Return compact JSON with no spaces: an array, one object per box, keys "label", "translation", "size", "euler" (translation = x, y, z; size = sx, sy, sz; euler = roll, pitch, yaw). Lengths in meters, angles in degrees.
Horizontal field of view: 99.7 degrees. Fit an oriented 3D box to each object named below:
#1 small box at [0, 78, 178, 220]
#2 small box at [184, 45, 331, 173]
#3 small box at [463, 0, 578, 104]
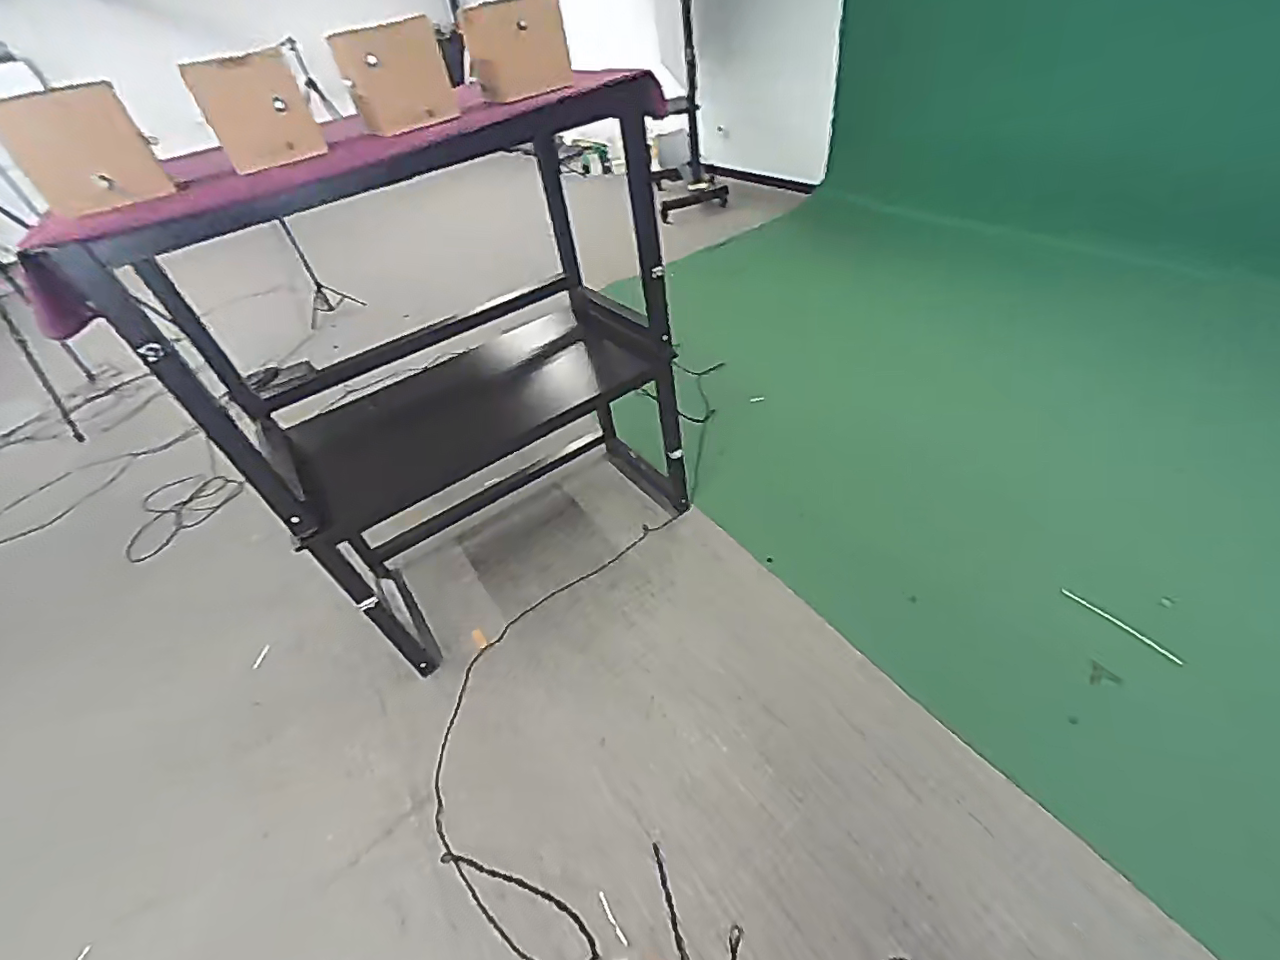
[{"label":"small box","translation":[-0.932,-0.566,0.922],"size":[0.179,0.176,0.168],"euler":[-31,46,-22]},{"label":"small box","translation":[-0.712,-0.697,1.020],"size":[0.168,0.176,0.179],"euler":[-28,44,-19]},{"label":"small box","translation":[-0.262,-0.958,1.207],"size":[0.179,0.176,0.168],"euler":[-30,45,-19]}]
